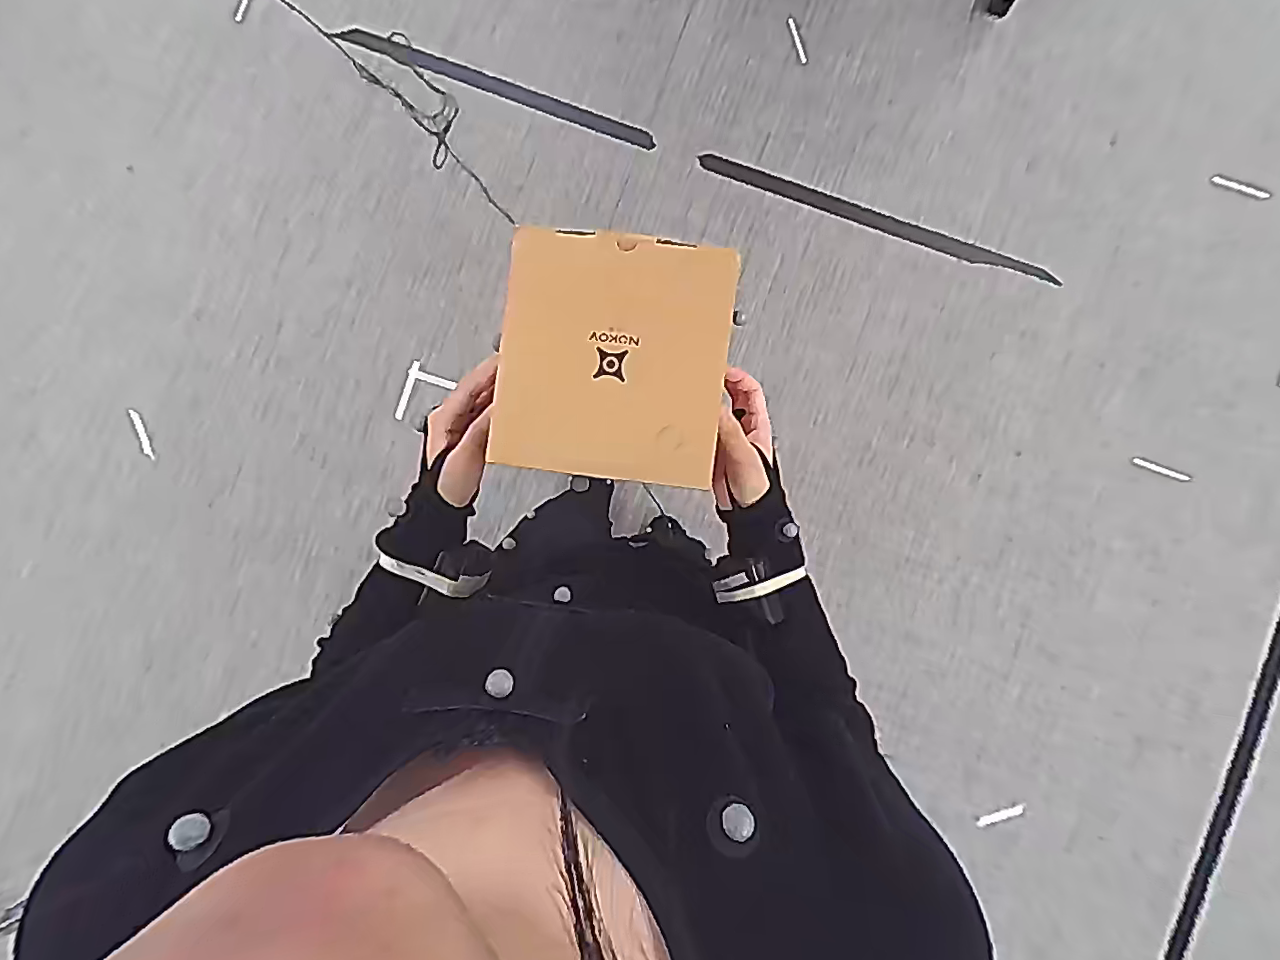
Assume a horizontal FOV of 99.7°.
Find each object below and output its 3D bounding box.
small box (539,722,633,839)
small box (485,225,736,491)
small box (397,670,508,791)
[{"bbox_3d":[-0.115,0.674,1.234,0.179,0.176,0.168,9,87,3],"label":"small box"},{"bbox_3d":[-0.019,-0.088,0.466,0.168,0.176,0.179,7,90,2],"label":"small box"},{"bbox_3d":[-0.419,0.563,1.245,0.168,0.176,0.179,20,89,3],"label":"small box"}]
